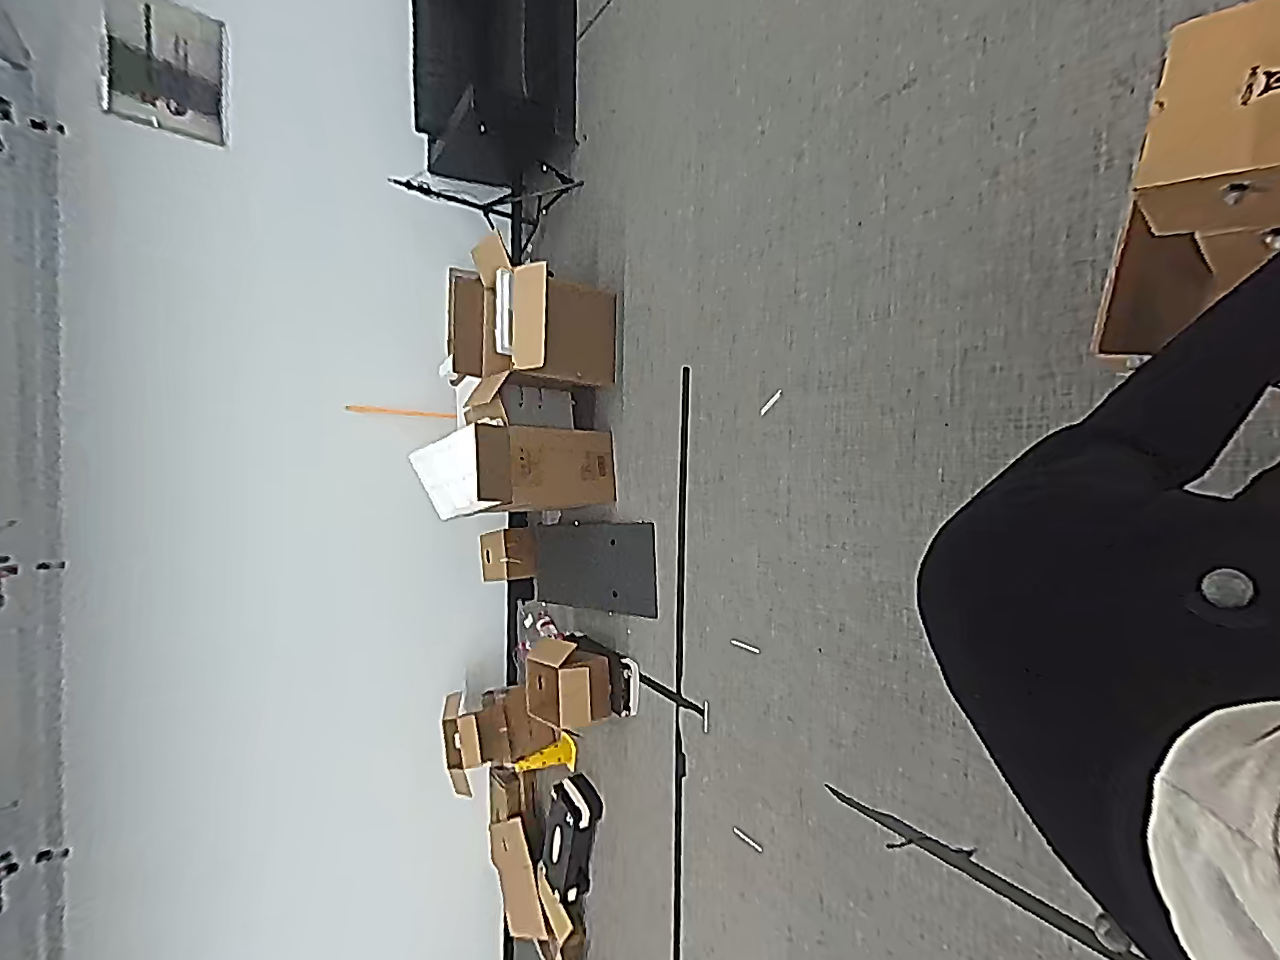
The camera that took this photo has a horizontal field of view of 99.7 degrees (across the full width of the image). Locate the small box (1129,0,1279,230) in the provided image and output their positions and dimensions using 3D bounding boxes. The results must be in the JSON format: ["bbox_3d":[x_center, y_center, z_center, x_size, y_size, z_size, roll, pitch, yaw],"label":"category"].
[{"bbox_3d":[0.662,-0.379,0.564,0.179,0.176,0.168,18,104,51],"label":"small box"}]
